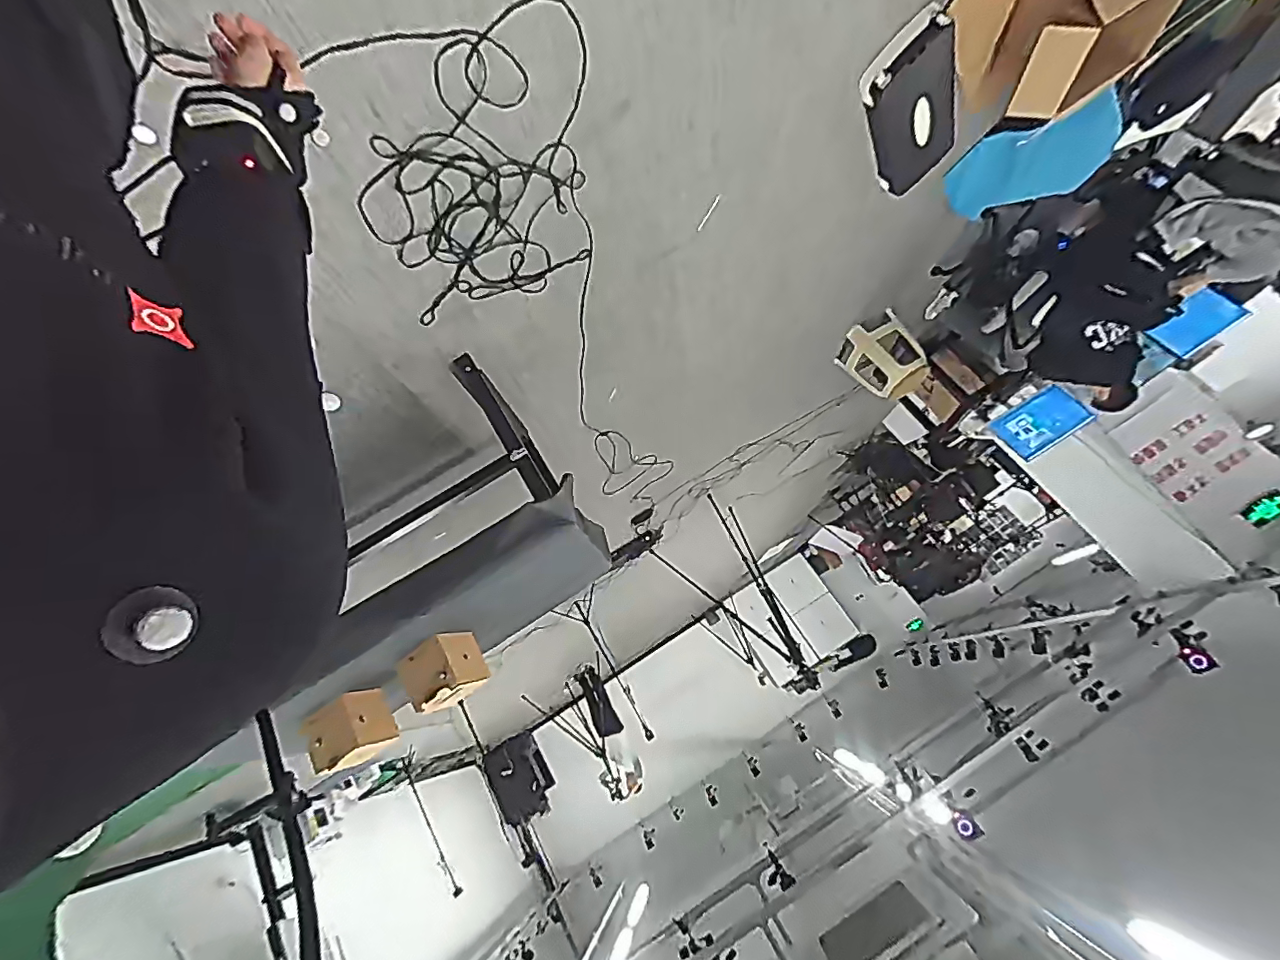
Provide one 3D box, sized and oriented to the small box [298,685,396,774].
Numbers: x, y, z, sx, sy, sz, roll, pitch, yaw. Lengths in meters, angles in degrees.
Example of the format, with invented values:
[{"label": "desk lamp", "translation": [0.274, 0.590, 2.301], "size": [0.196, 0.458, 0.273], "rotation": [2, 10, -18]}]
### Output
[{"label": "small box", "translation": [-0.884, 0.742, 1.630], "size": [0.168, 0.176, 0.179], "rotation": [-35, 160, 6]}]
